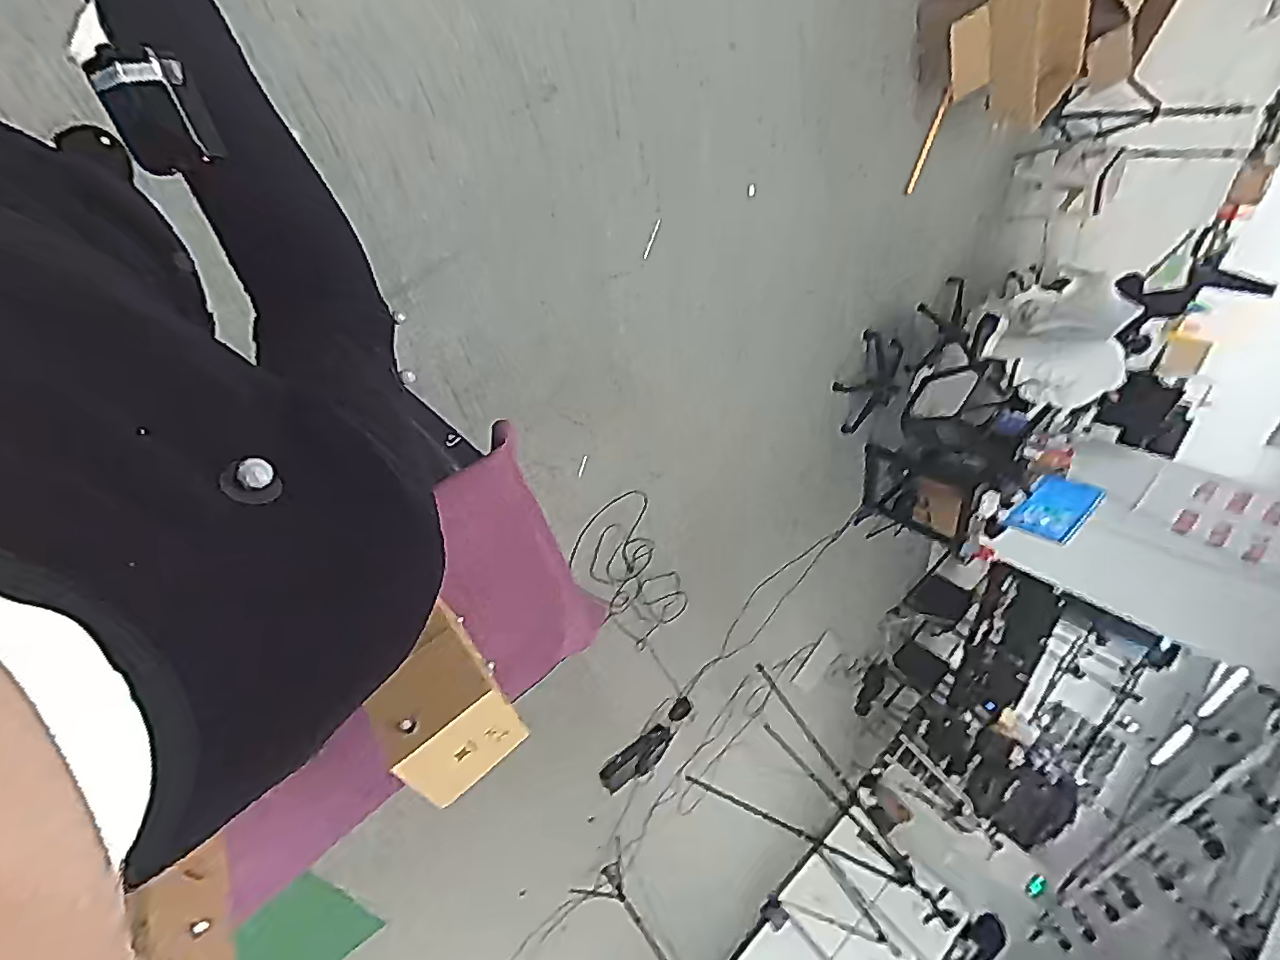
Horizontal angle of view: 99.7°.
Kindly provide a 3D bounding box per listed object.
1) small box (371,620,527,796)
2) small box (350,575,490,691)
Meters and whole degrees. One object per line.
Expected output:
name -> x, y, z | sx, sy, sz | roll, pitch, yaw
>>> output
small box -> -0.327, 0.377, 0.914 | 0.179, 0.176, 0.168 | -36, 135, -22
small box -> -0.425, 0.319, 1.035 | 0.179, 0.176, 0.168 | -37, 135, -21
